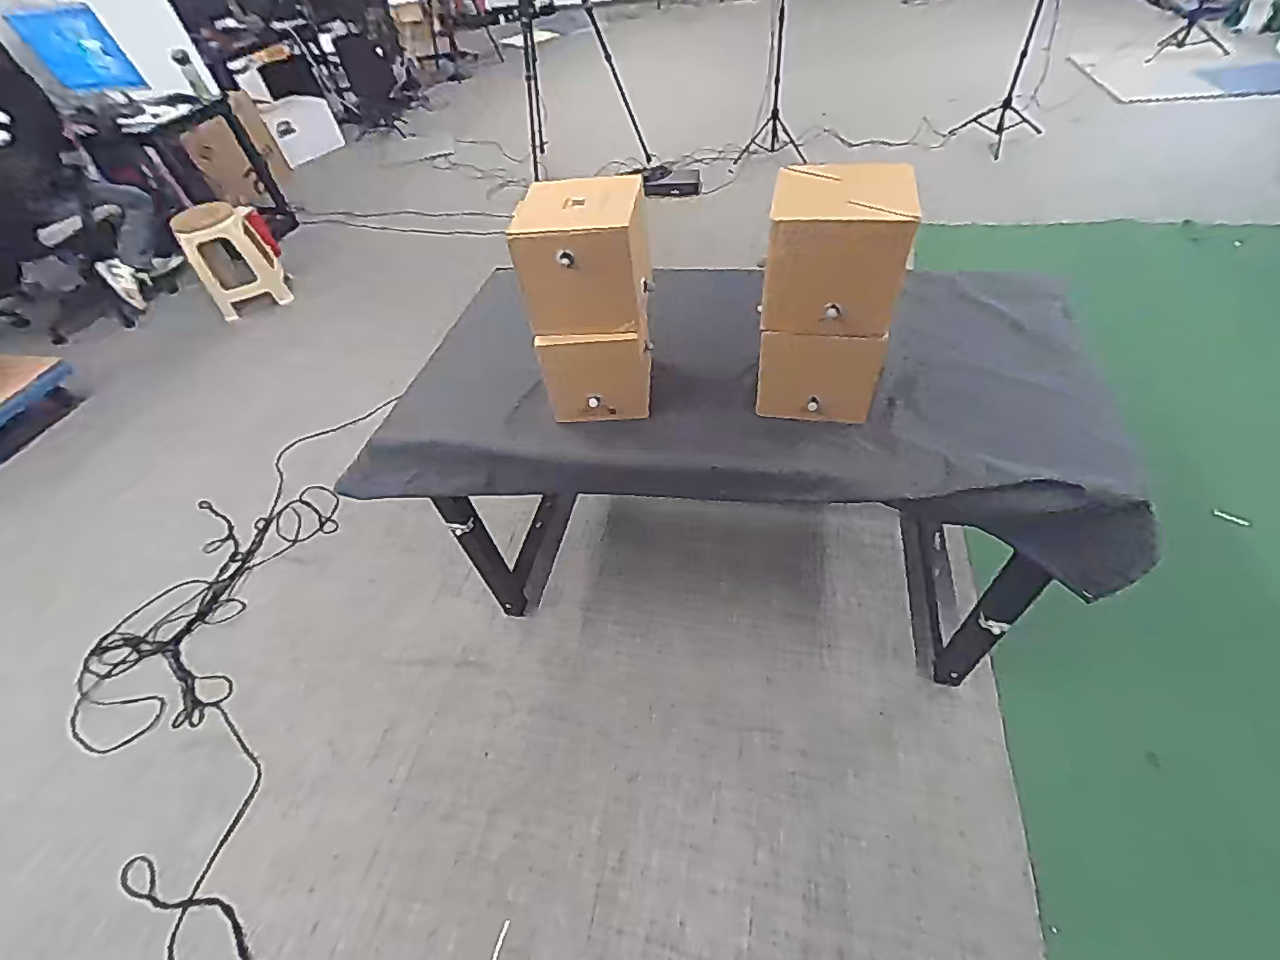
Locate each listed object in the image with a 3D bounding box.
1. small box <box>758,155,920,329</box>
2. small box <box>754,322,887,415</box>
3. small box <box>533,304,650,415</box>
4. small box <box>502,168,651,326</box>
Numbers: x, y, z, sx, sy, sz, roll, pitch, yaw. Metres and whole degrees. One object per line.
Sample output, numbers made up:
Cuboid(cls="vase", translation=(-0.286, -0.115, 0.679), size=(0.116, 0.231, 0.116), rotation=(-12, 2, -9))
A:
Cuboid(cls="small box", translation=(0.266, -0.333, 0.753), size=(0.179, 0.176, 0.168), rotation=(7, 51, 14))
Cuboid(cls="small box", translation=(0.286, -0.222, 0.879), size=(0.179, 0.176, 0.168), rotation=(6, 51, 13))
Cuboid(cls="small box", translation=(-0.073, -0.233, 0.938), size=(0.168, 0.176, 0.179), rotation=(-2, 50, 6))
Cuboid(cls="small box", translation=(-0.084, -0.349, 0.823), size=(0.179, 0.176, 0.168), rotation=(1, 52, 8))
